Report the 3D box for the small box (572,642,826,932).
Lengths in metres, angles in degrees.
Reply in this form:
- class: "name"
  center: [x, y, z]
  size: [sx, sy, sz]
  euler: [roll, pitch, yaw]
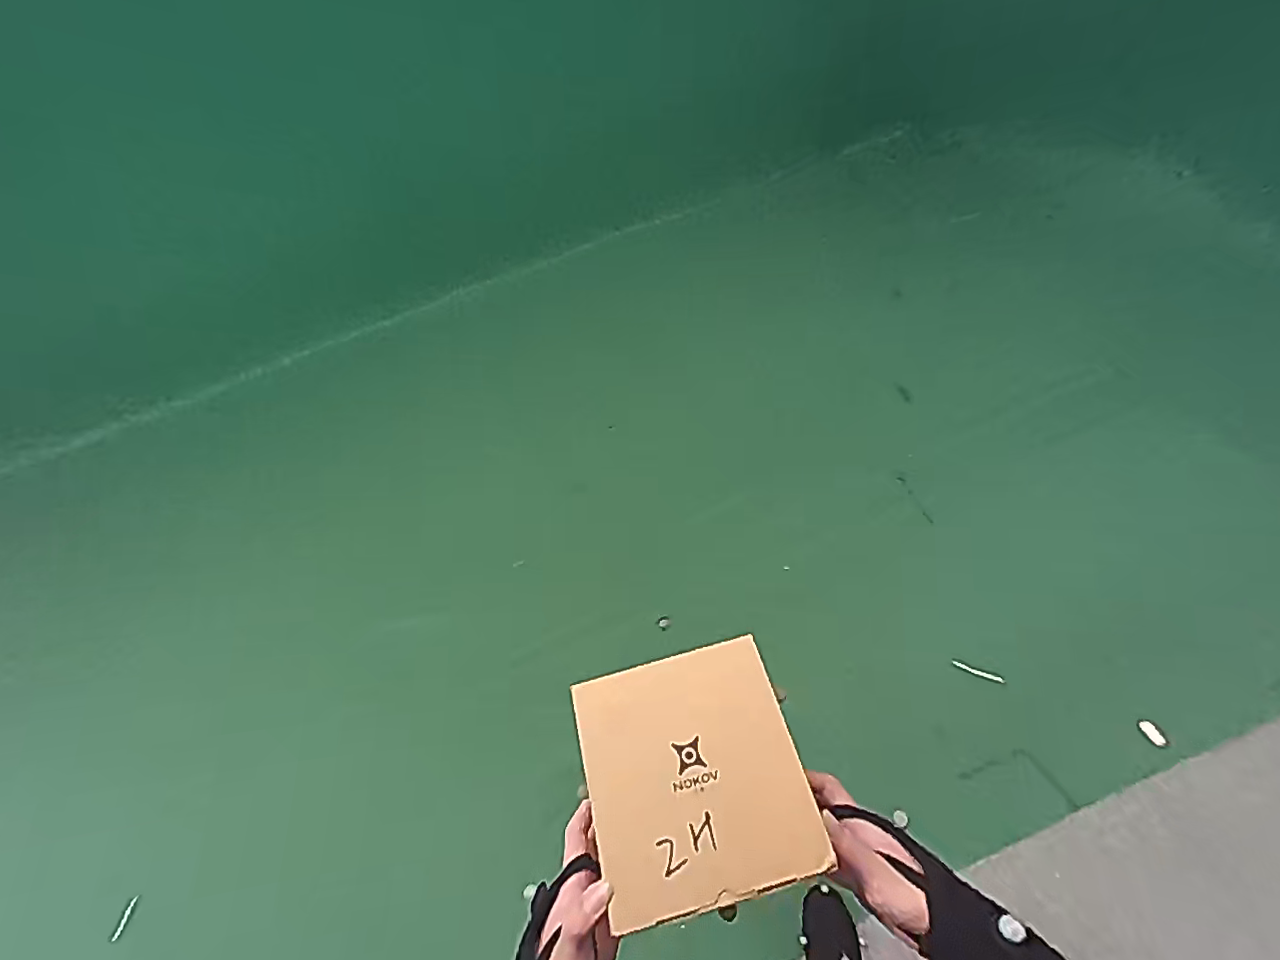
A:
- class: "small box"
  center: [0.043, 0.276, 0.493]
  size: [0.168, 0.176, 0.179]
  euler: [-15, 55, -3]
